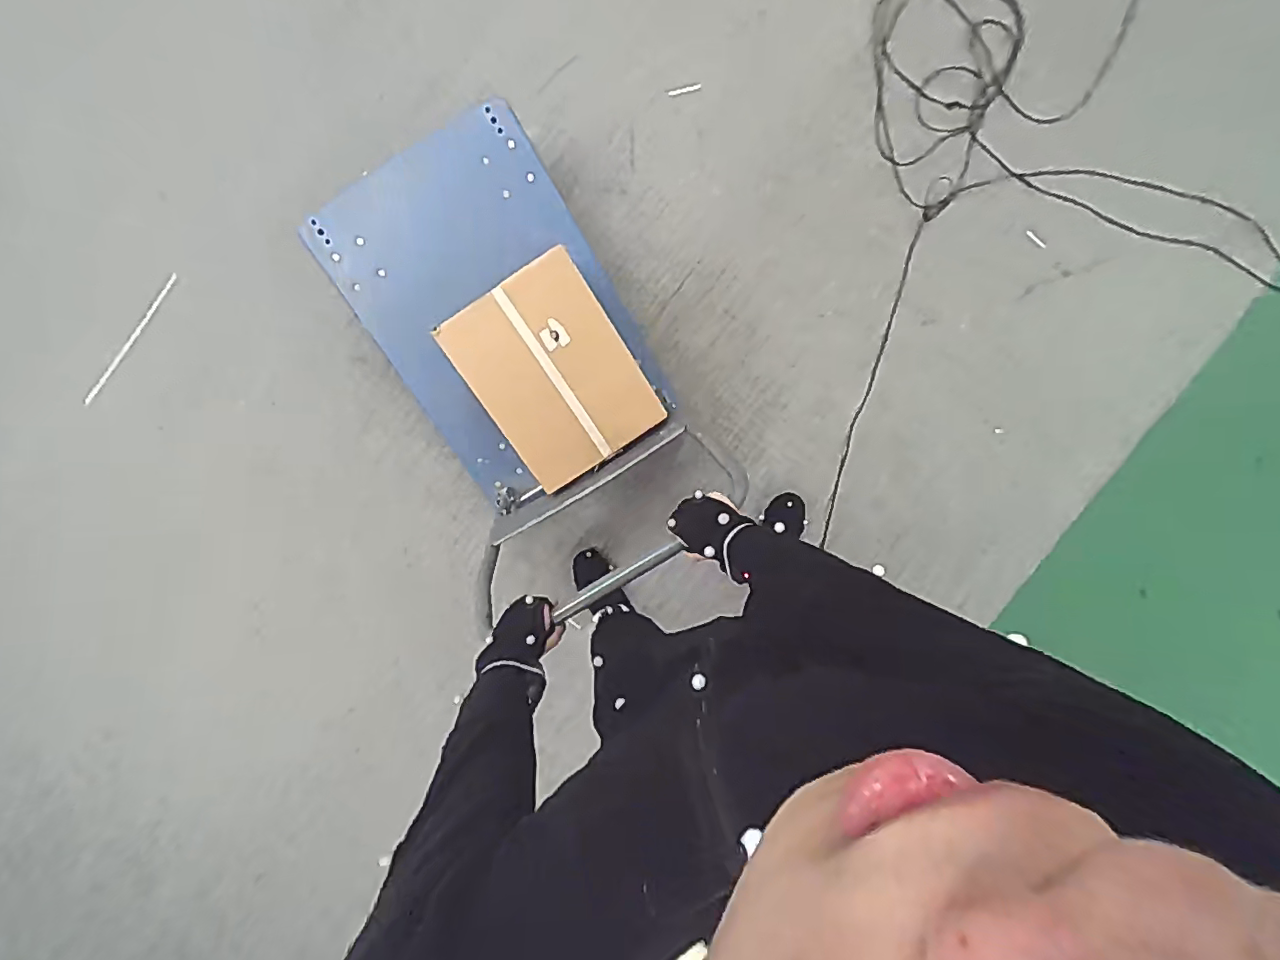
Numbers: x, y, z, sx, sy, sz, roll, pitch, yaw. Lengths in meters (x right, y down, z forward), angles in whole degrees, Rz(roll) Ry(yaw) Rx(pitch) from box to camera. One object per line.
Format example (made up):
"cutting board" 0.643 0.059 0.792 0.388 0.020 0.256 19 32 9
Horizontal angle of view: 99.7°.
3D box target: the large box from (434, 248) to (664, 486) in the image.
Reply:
"large box" -0.193 -0.258 1.269 0.320 0.320 0.408 -34 104 2
